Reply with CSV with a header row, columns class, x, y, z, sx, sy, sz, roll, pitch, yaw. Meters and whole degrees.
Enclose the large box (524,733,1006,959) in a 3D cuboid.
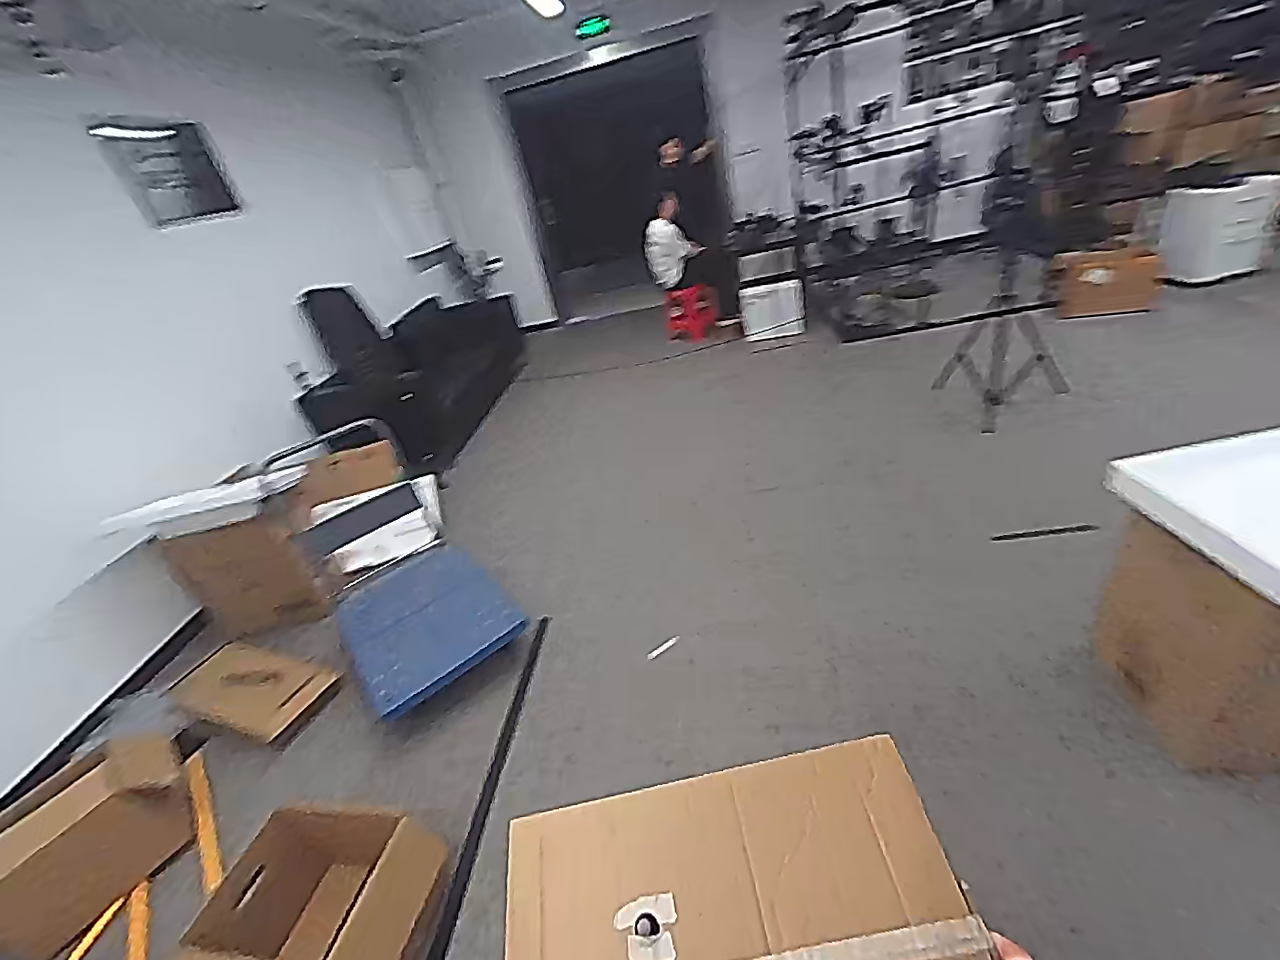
class,x,y,z,sx,sy,sz,roll,pitch,yaw
large box,0.132,0.505,0.551,0.408,0.320,0.320,-17,46,6
